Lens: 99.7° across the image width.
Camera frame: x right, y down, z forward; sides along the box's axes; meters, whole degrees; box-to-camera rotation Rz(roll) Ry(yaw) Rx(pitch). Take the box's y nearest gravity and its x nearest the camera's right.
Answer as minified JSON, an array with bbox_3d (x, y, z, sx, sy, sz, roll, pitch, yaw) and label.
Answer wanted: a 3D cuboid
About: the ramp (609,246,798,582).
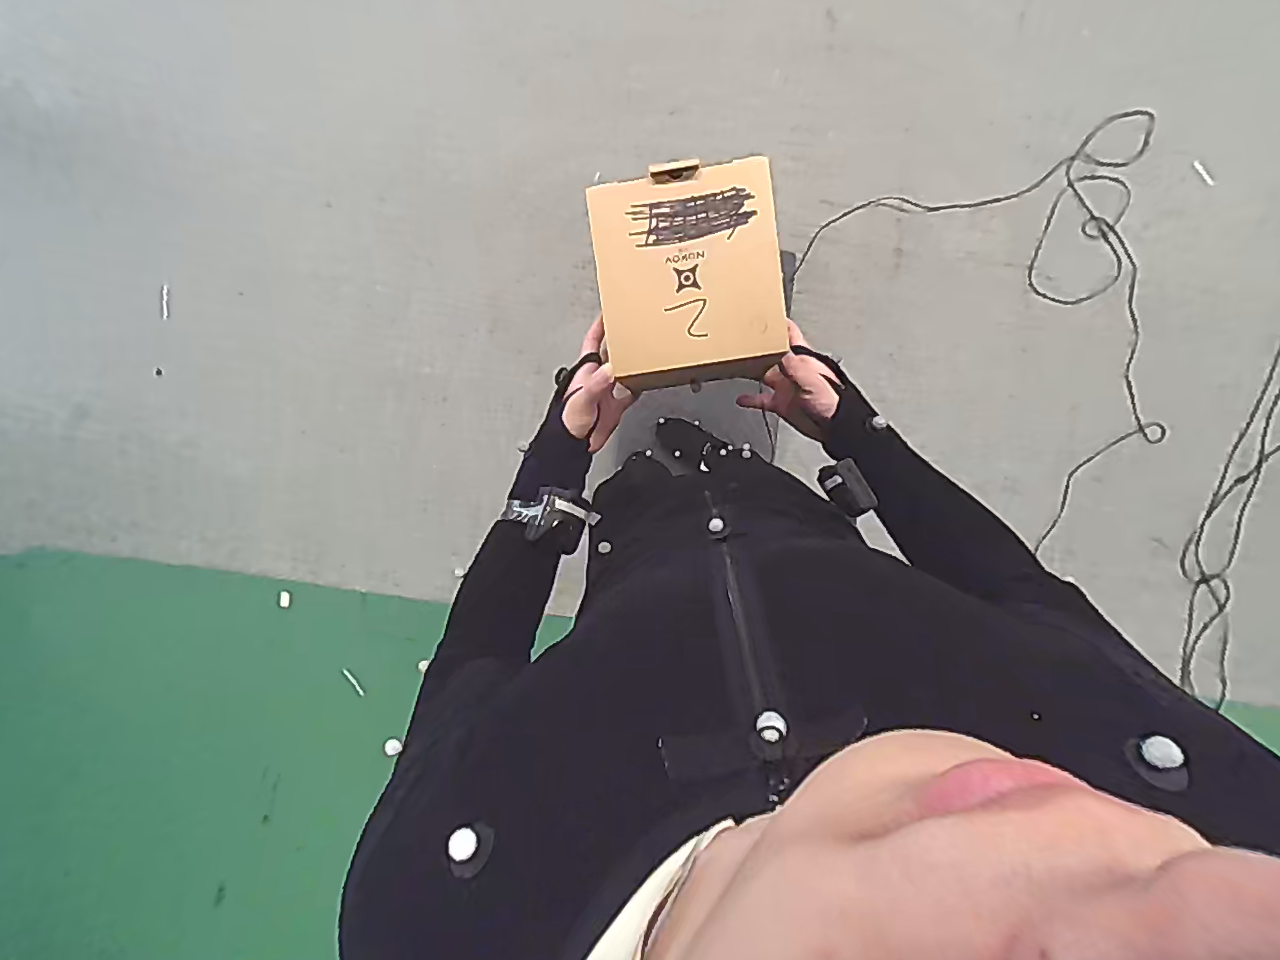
[{"bbox_3d":[0.197,-0.211,1.652,0.509,0.206,0.991,5,97,2],"label":"ramp"}]
